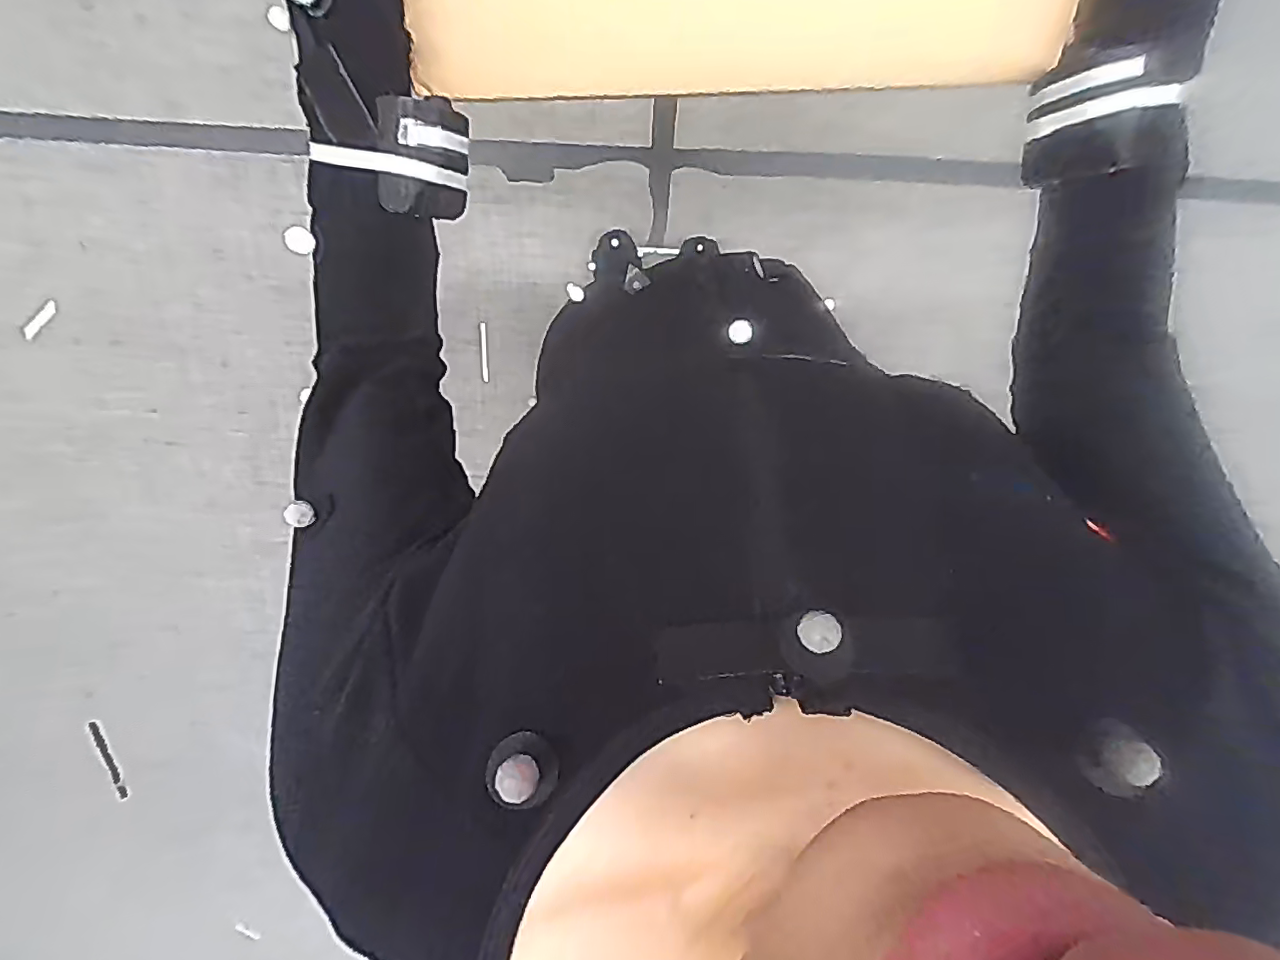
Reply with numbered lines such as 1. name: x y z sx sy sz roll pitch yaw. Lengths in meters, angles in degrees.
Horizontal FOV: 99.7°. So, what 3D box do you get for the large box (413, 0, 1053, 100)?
1. large box: 0.048 -0.472 0.389 0.408 0.320 0.320 -3 126 -1
